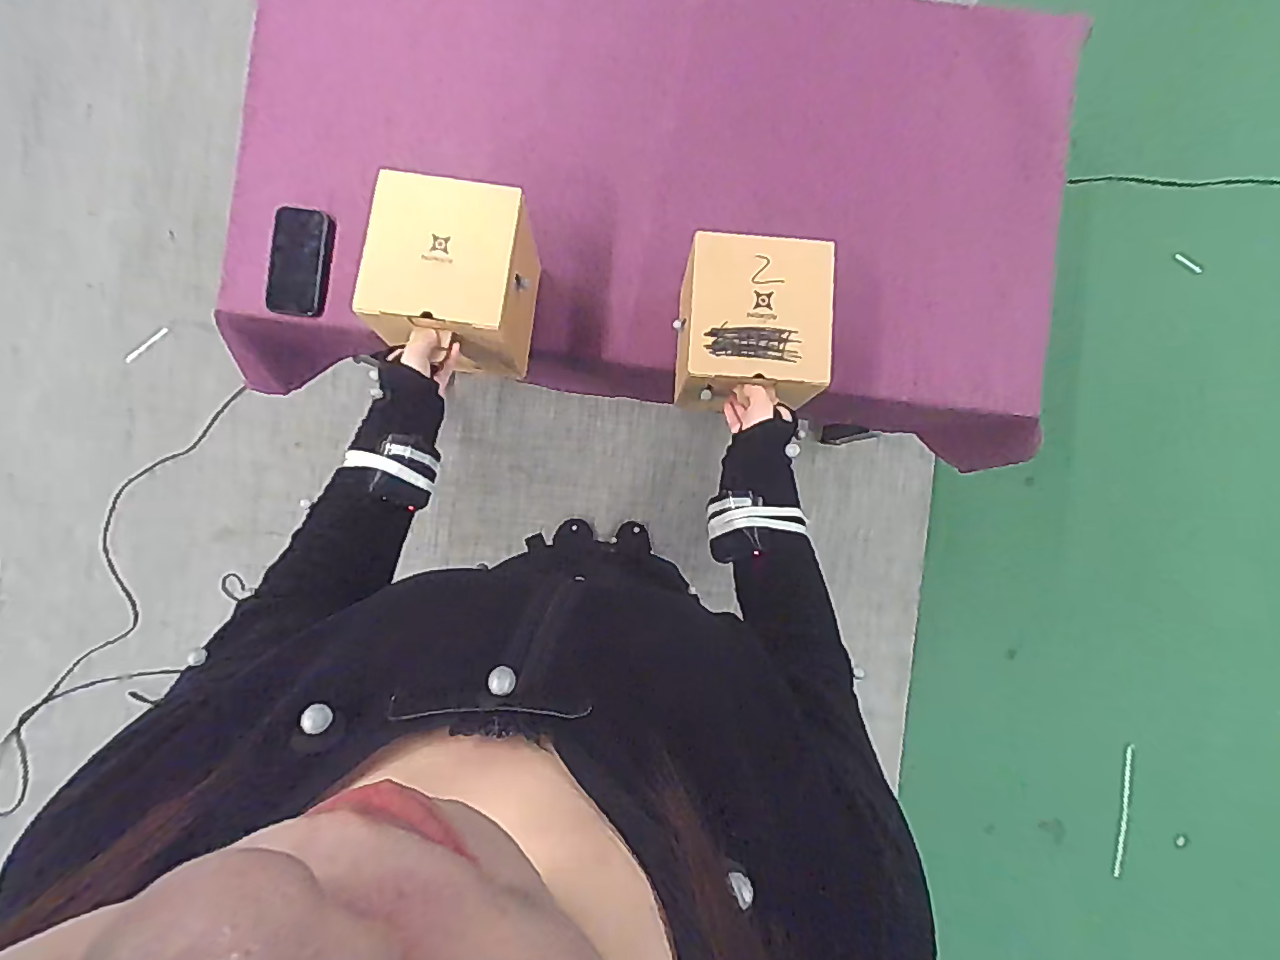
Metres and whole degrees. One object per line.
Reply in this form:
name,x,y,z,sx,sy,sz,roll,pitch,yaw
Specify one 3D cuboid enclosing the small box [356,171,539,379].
small box,-0.228,-0.248,0.690,0.168,0.176,0.179,8,82,-3
